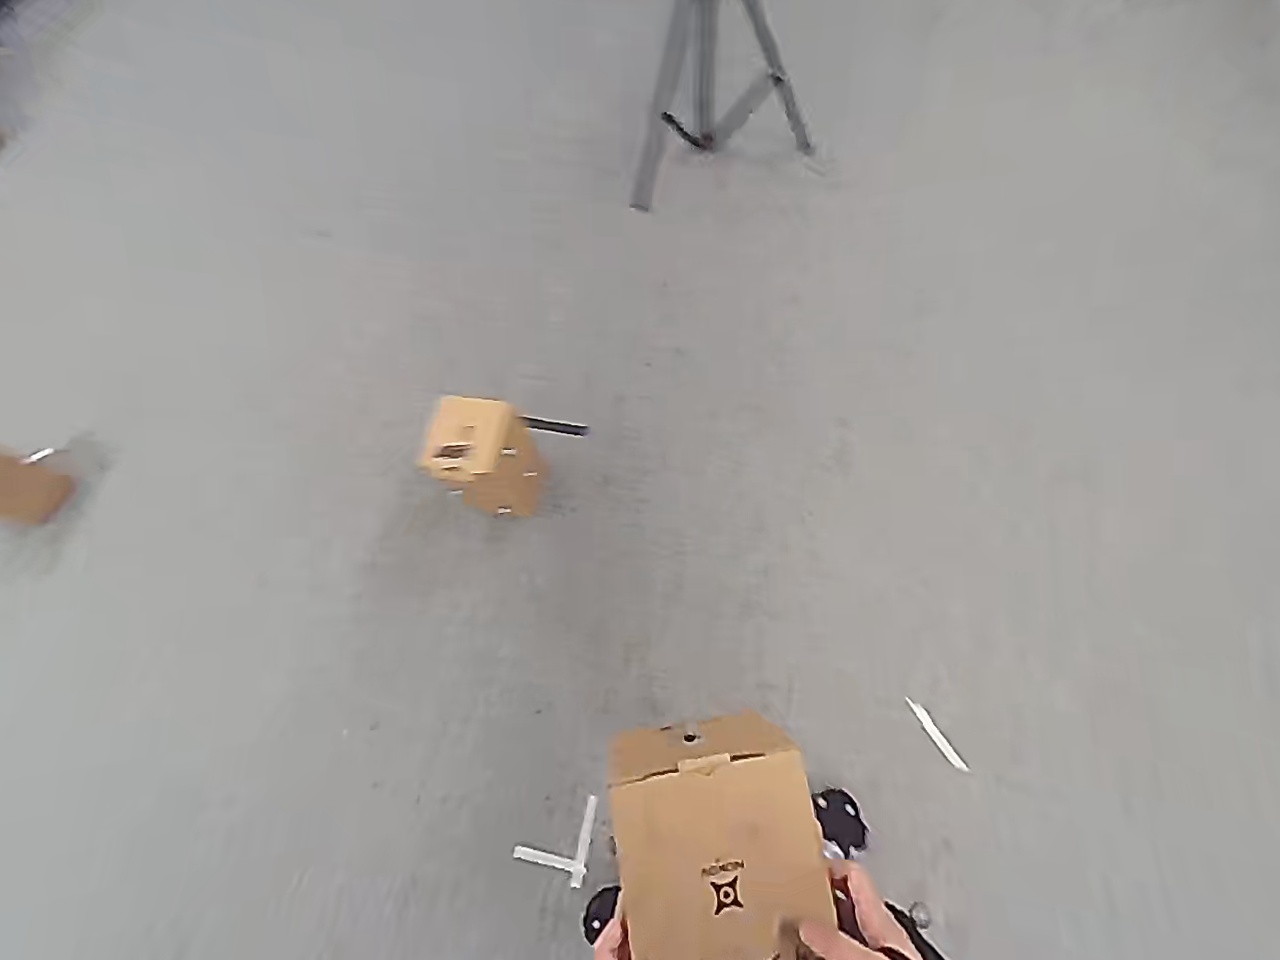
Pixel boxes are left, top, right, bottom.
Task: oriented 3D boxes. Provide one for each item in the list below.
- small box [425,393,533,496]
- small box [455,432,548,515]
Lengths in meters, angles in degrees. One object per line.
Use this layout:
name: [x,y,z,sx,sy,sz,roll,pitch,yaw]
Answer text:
small box: [-0.358,-0.076,1.242,0.168,0.176,0.179,9,70,8]
small box: [-0.349,-0.020,1.397,0.168,0.176,0.179,8,69,8]
